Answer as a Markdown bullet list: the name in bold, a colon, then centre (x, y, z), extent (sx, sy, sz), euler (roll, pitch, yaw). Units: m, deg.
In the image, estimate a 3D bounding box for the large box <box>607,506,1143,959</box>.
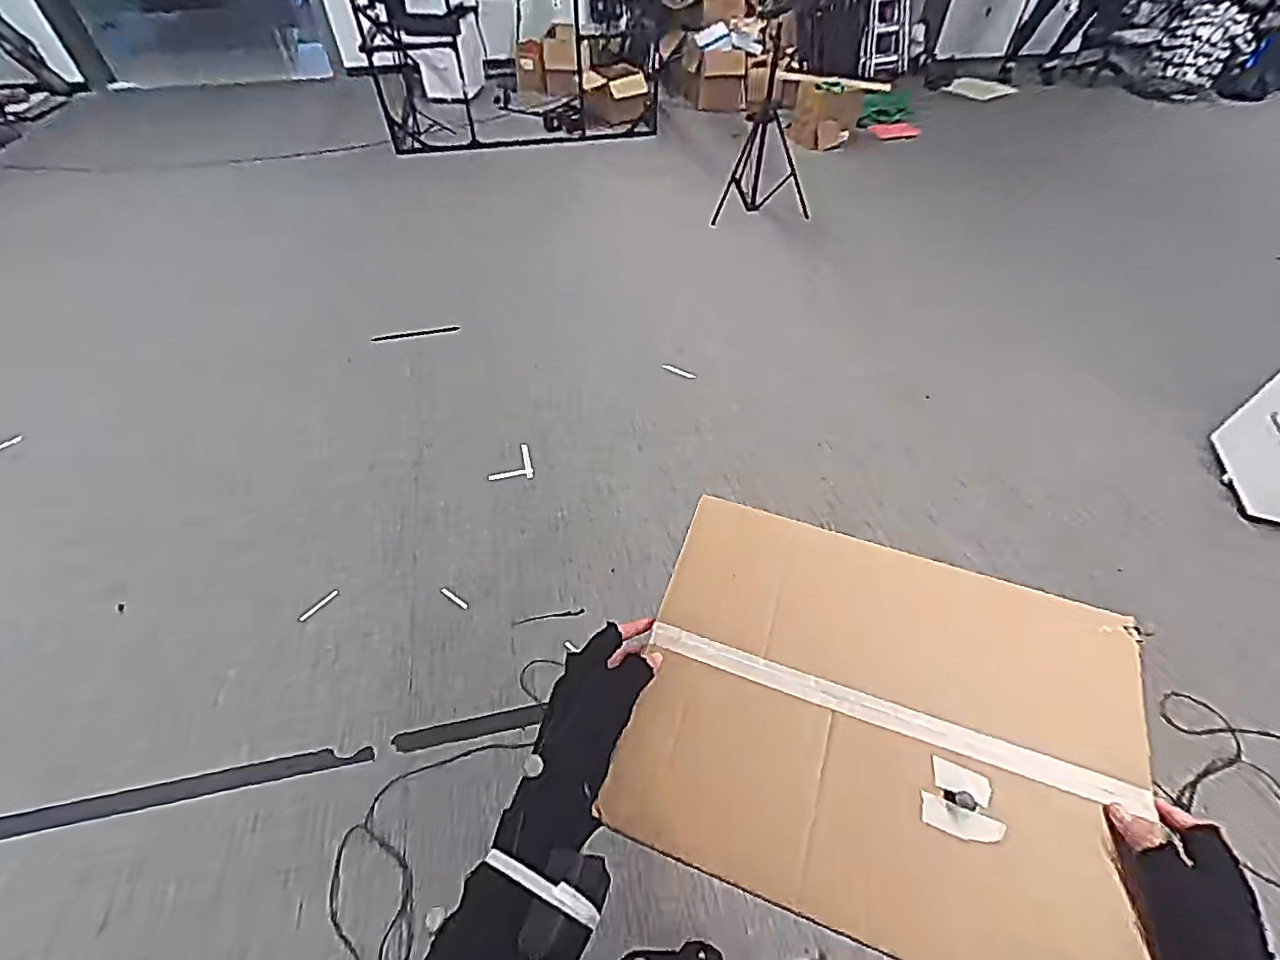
- **large box**: centre (0.211, 0.279, 0.601), extent (0.408, 0.320, 0.320), euler (17, 62, 13)
